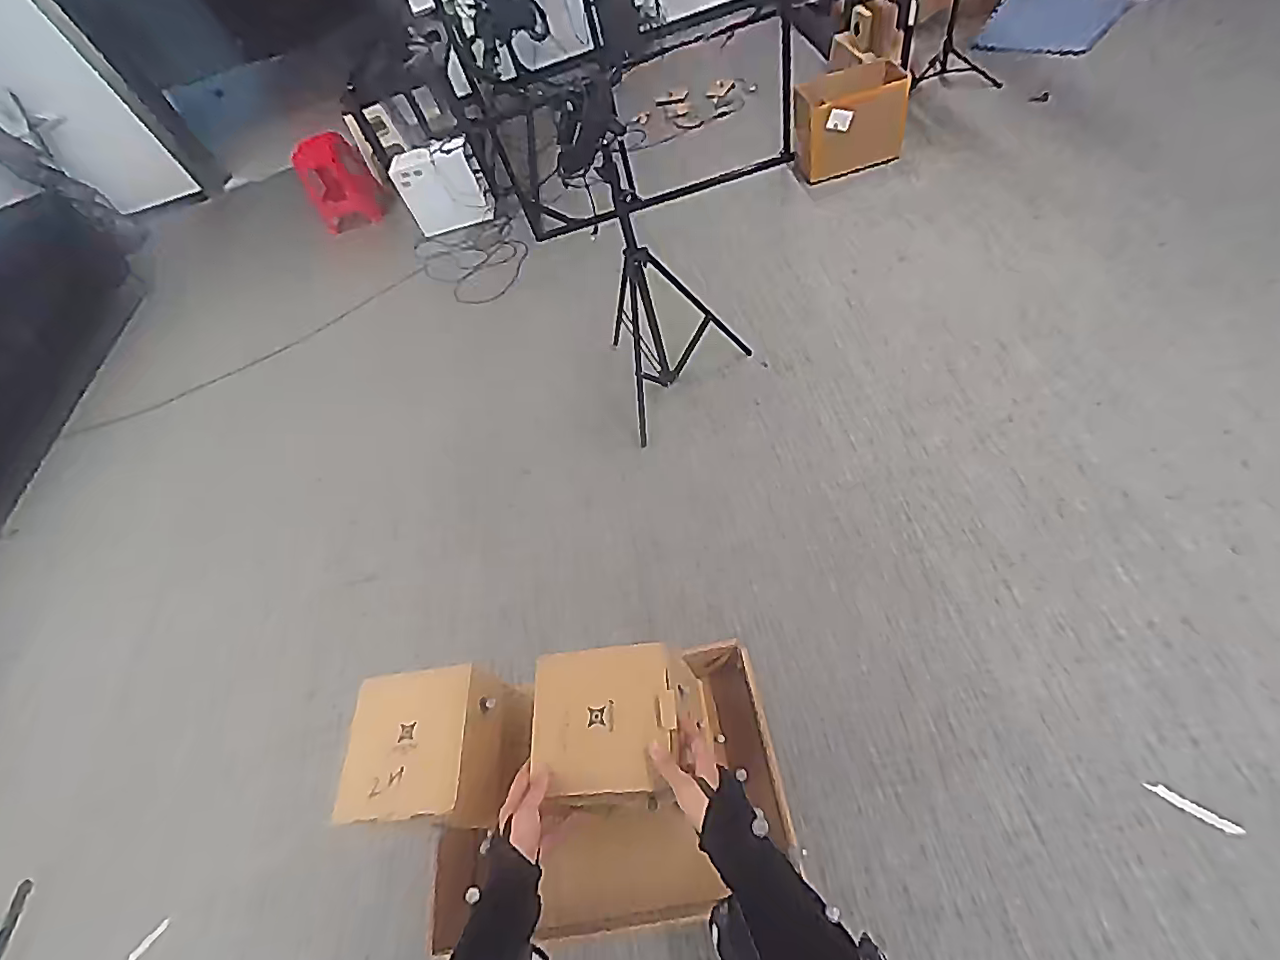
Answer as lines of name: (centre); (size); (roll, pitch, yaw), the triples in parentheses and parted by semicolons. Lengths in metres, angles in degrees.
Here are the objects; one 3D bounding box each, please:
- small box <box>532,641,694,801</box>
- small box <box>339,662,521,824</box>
small box: (-0.026, 0.326, 0.720); (0.179, 0.176, 0.168); (-10, 55, 10)
small box: (-0.276, 0.373, 0.760); (0.168, 0.176, 0.179); (-10, 55, 8)
